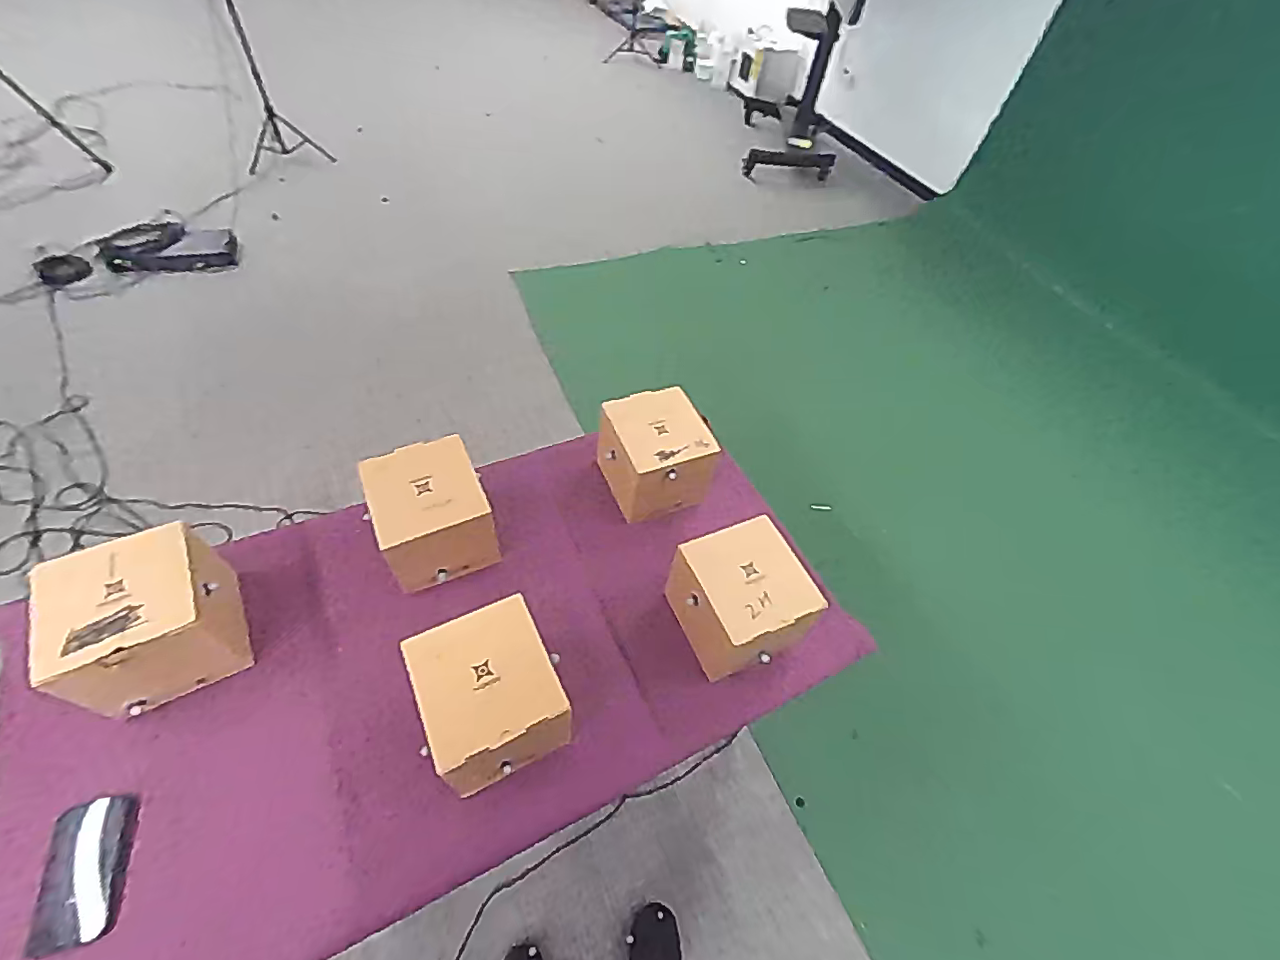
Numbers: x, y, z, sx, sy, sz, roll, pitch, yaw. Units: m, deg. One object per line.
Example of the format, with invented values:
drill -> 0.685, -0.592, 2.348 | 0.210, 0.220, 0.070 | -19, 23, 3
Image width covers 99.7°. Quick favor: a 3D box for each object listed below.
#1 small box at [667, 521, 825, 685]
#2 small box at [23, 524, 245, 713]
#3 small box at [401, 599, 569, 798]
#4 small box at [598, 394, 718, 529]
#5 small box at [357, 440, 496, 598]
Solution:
small box -> 0.156, 0.200, 0.873 | 0.168, 0.176, 0.179 | -16, 56, -19
small box -> -0.680, 0.197, 0.746 | 0.168, 0.176, 0.179 | -21, 58, -24
small box -> -0.209, 0.301, 0.742 | 0.168, 0.176, 0.179 | -19, 57, -23
small box -> 0.024, -0.036, 1.041 | 0.168, 0.176, 0.179 | -16, 56, -19
small box -> -0.350, 0.066, 0.904 | 0.168, 0.176, 0.179 | -19, 58, -21
